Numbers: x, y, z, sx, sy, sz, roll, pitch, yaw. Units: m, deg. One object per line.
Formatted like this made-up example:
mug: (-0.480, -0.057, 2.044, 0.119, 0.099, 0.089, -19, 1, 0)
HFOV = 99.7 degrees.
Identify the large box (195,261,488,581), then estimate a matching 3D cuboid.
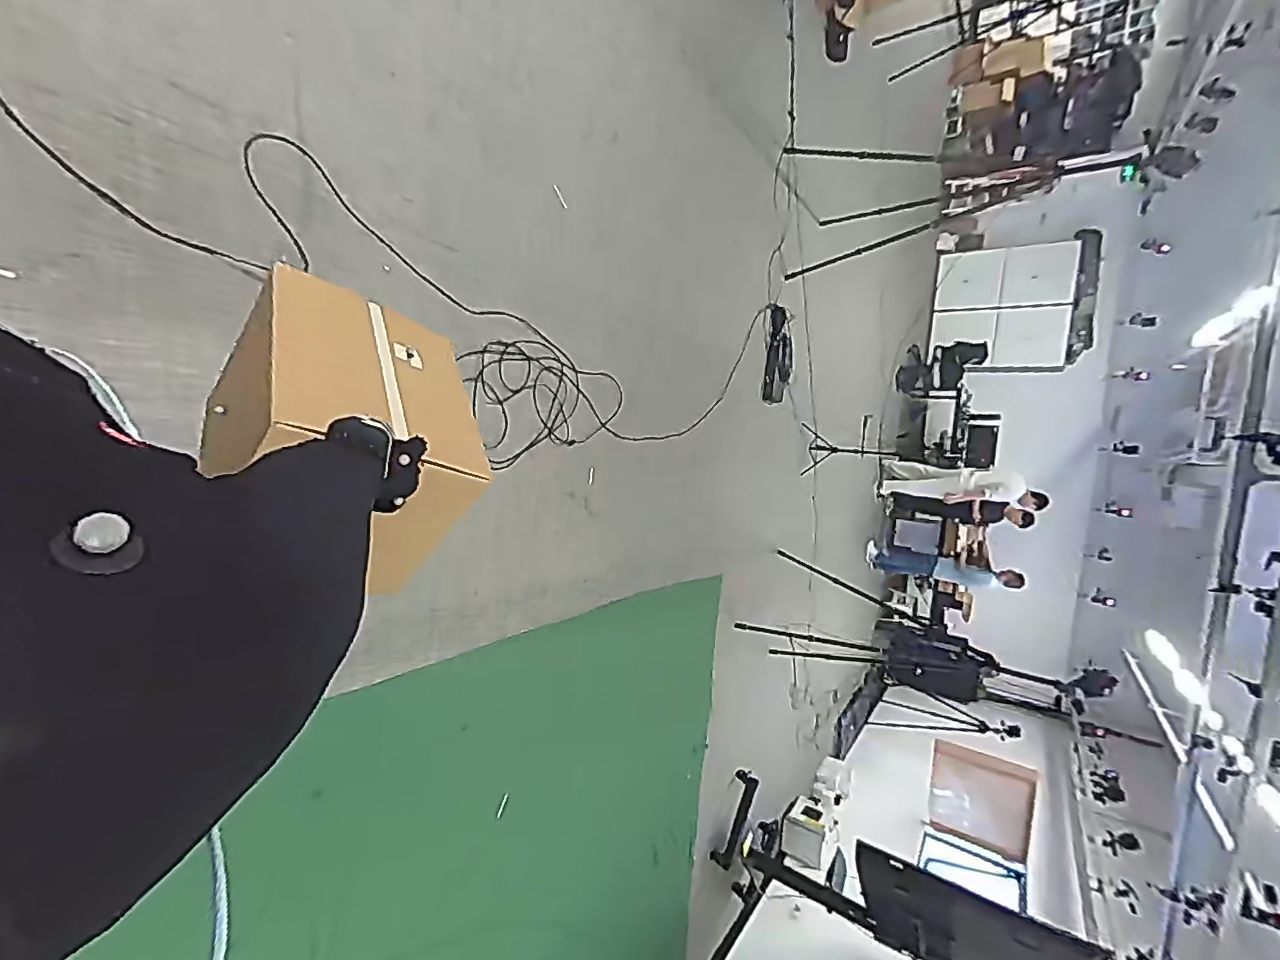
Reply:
large box: (-0.517, -0.082, 0.927, 0.320, 0.408, 0.320, -45, 141, 21)
